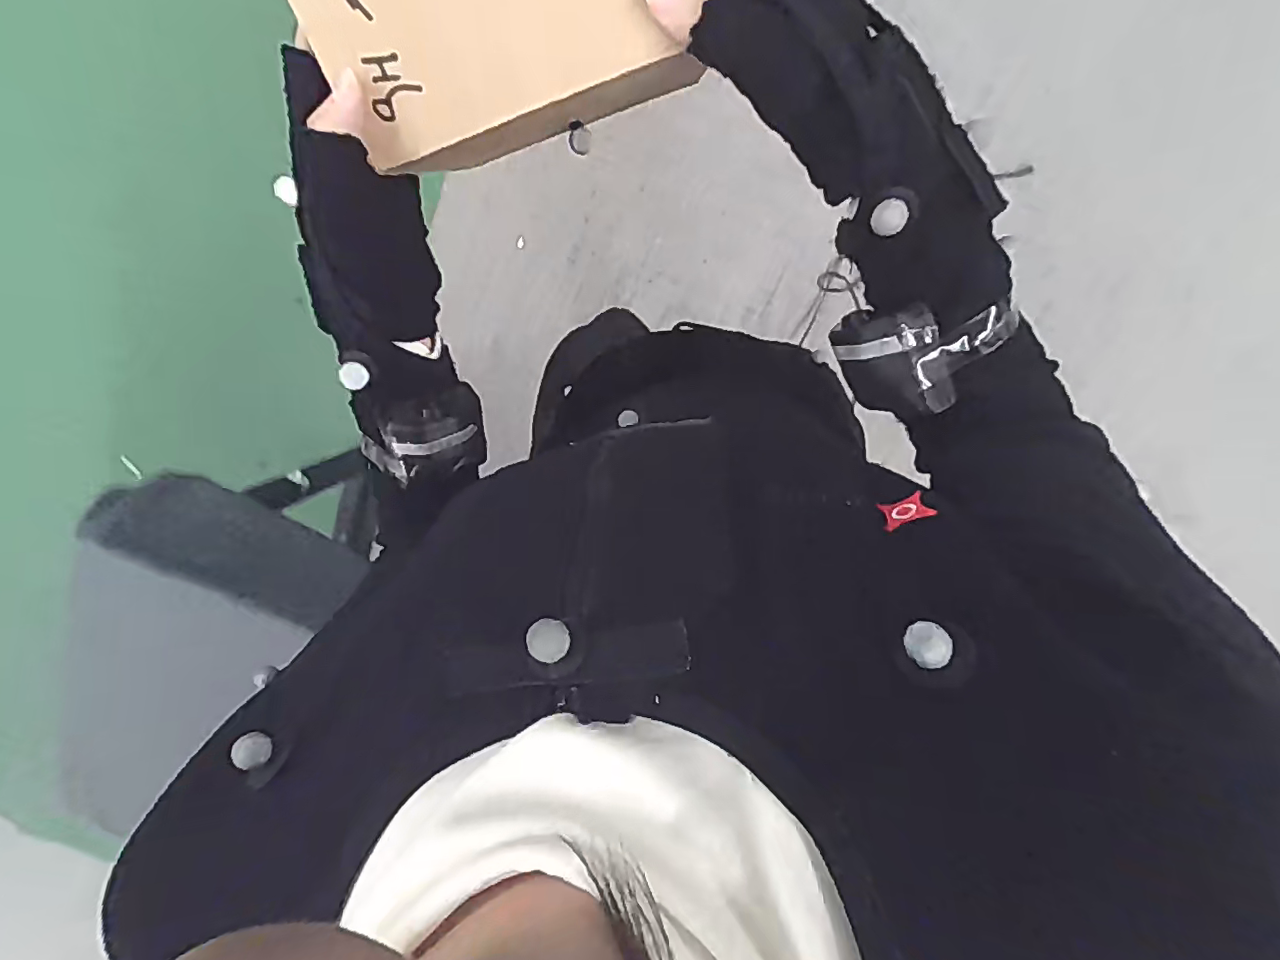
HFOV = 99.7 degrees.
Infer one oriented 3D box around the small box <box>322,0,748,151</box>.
[{"bbox_3d":[-0.058,-0.283,0.272,0.179,0.176,0.168,-14,118,8],"label":"small box"}]
